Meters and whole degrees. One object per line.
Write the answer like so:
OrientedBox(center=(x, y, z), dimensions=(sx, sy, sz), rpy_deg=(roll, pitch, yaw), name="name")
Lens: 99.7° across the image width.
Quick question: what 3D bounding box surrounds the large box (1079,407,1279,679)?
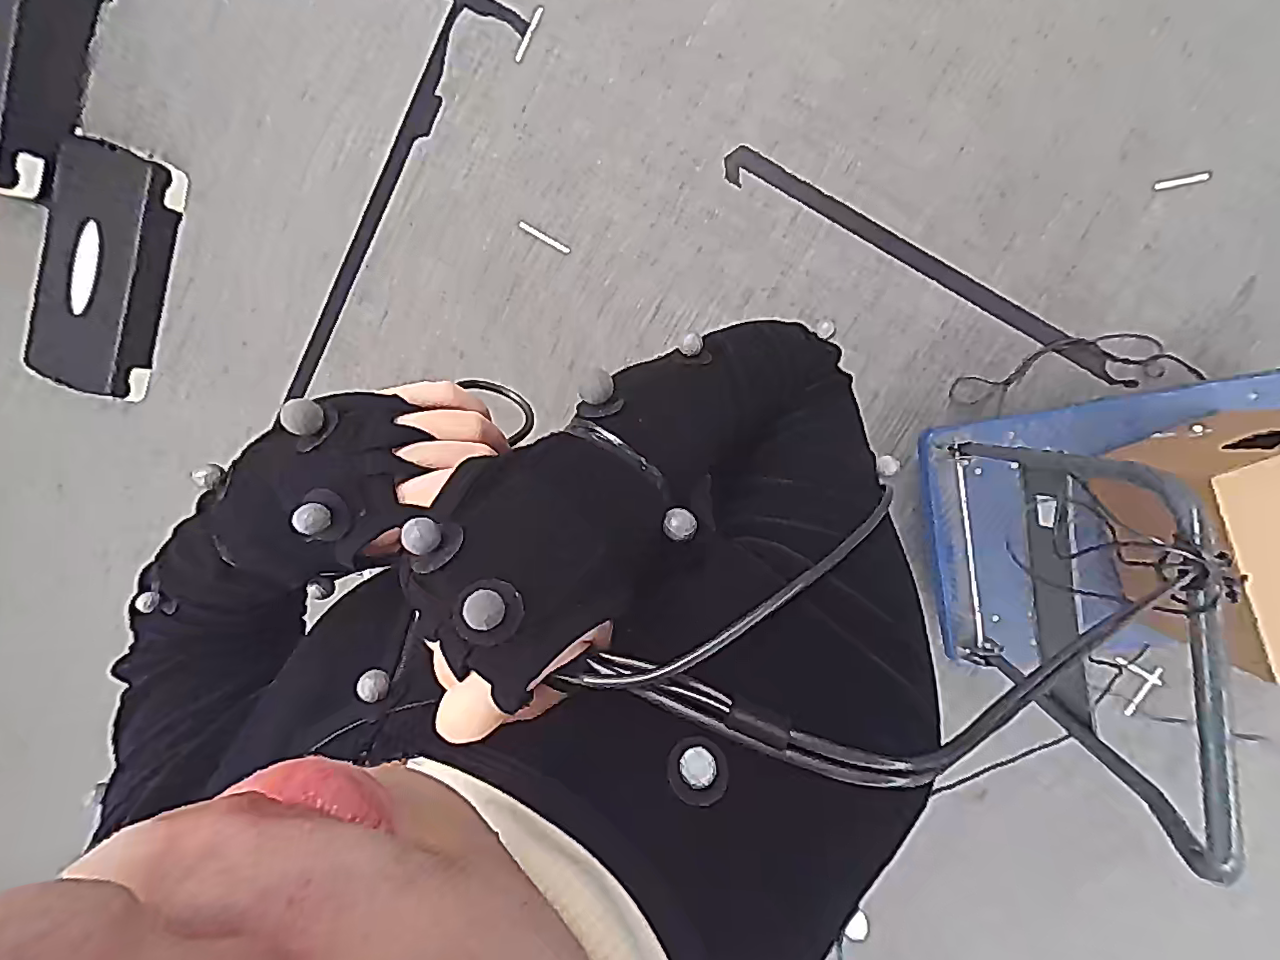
OrientedBox(center=(1.182, 0.097, 1.067), dimensions=(0.320, 0.320, 0.408), rpy_deg=(-21, 95, 7), name="large box")
